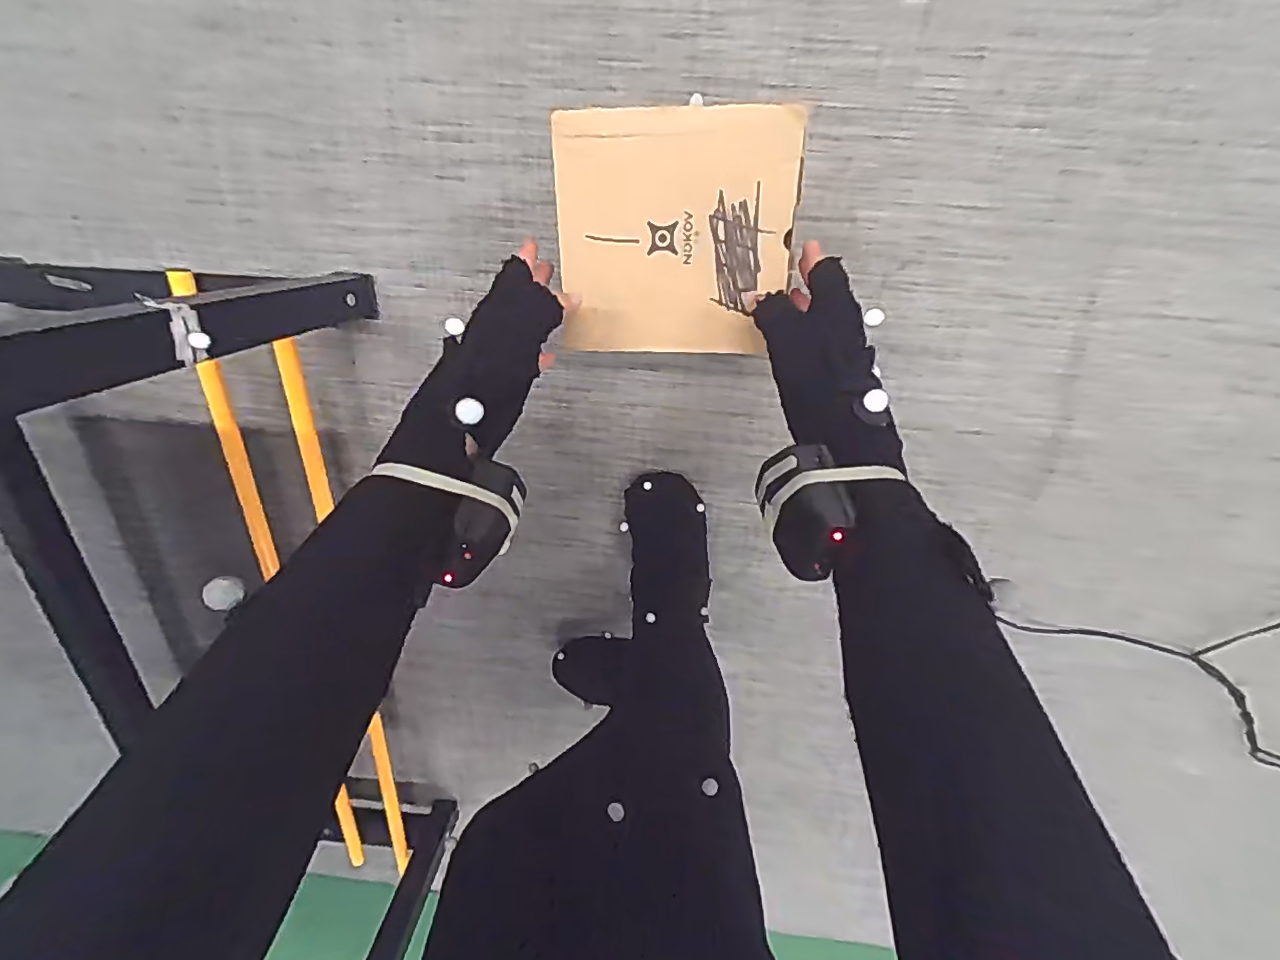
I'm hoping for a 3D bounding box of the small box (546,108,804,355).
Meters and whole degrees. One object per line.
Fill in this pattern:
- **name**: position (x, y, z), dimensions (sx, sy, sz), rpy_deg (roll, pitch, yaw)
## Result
- **small box**: position (0.030, -0.209, 0.464), dimensions (0.179, 0.176, 0.168), rpy_deg (2, 116, 6)
